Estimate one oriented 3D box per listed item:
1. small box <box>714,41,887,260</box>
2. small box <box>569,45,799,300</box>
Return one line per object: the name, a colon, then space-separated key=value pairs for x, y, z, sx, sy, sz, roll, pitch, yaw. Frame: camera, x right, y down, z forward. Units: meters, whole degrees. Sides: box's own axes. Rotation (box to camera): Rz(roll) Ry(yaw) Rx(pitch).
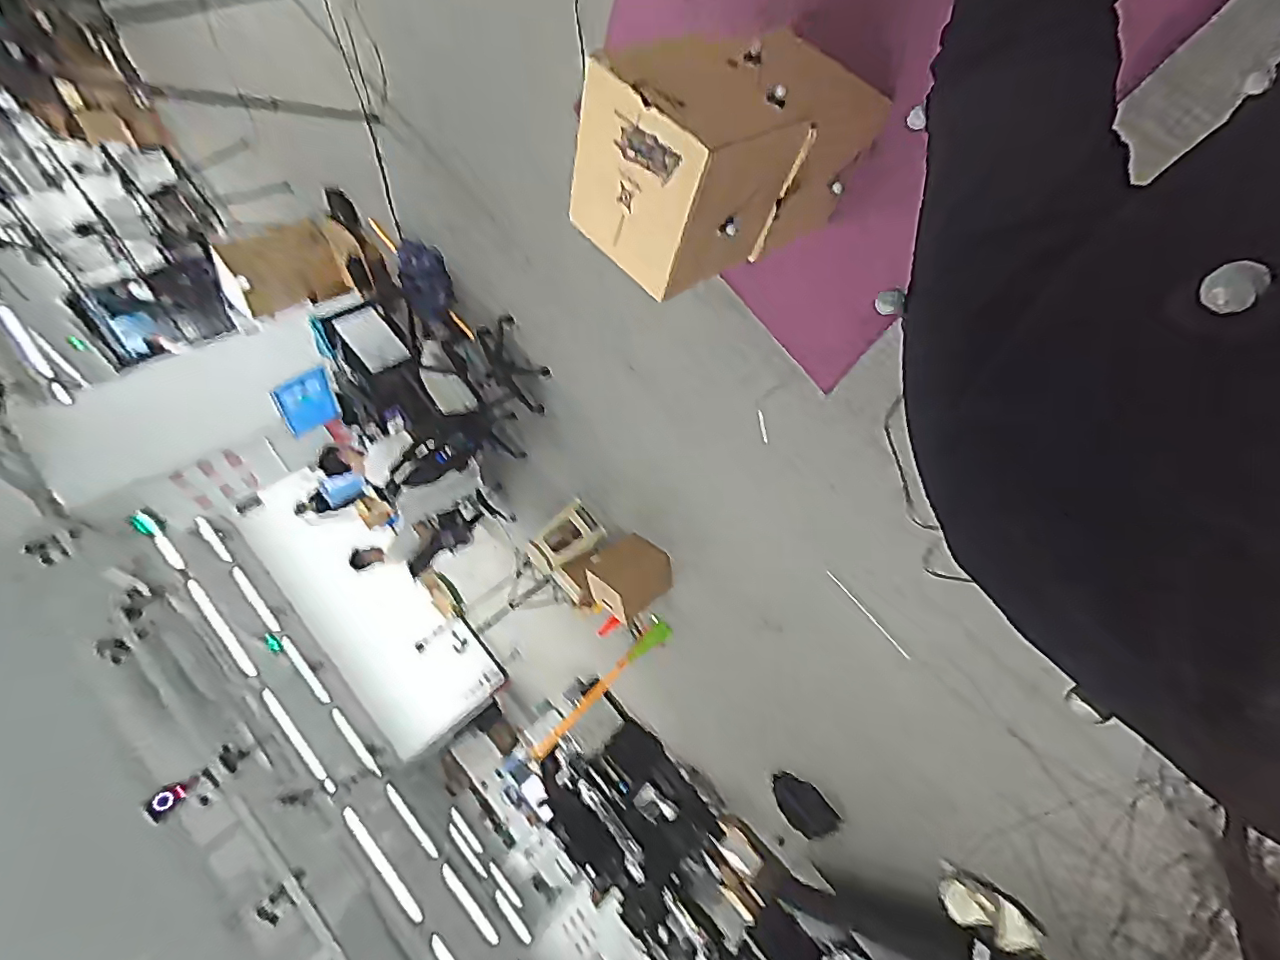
small box: x=0.167 y=-0.421 z=0.687 sx=0.179 sy=0.176 sz=0.168 roll=47 pitch=151 yaw=14
small box: x=0.047 y=-0.342 z=0.601 sx=0.168 sy=0.176 sz=0.179 roll=50 pitch=150 yaw=13
